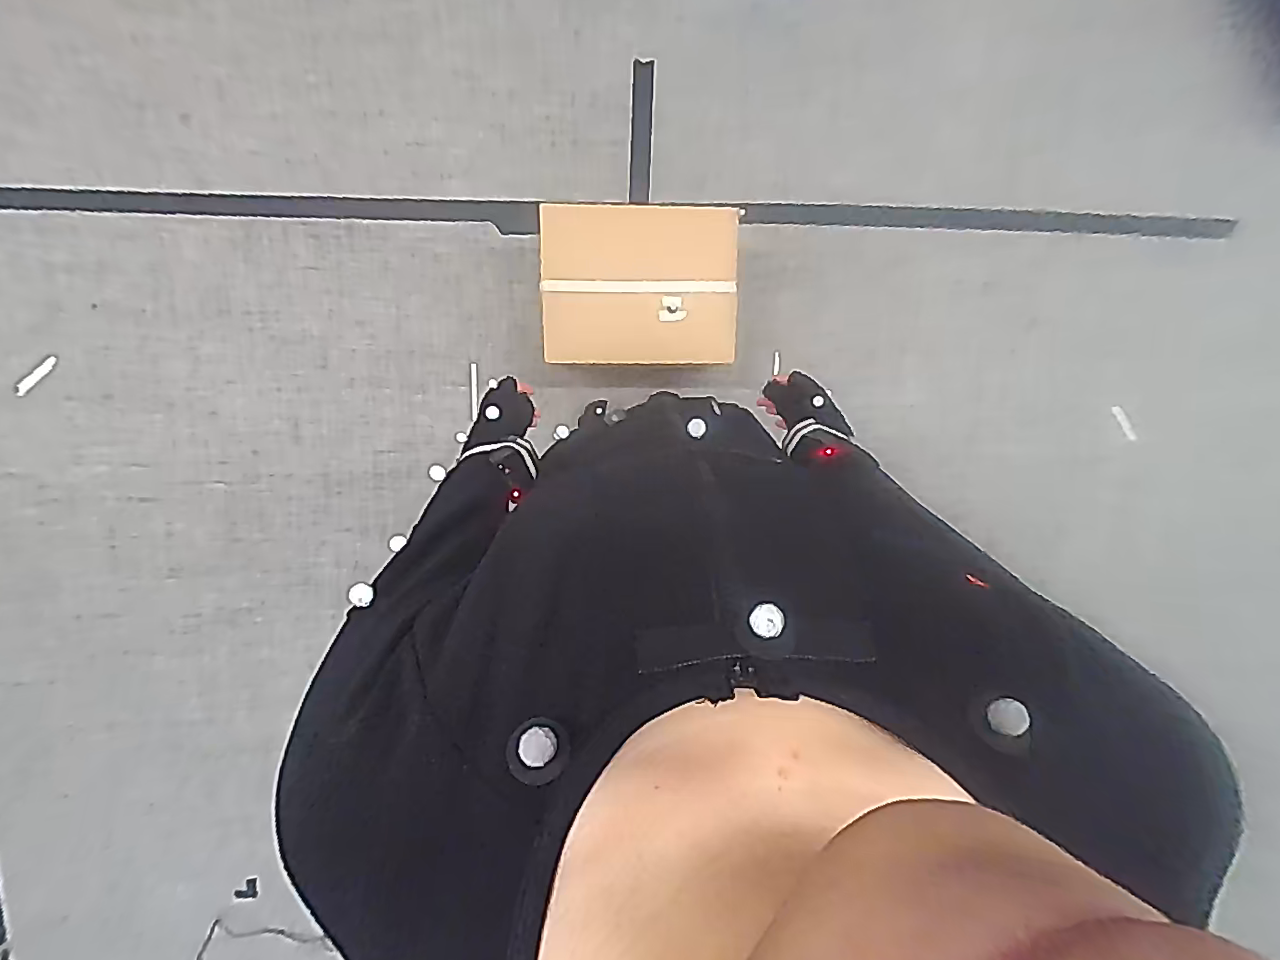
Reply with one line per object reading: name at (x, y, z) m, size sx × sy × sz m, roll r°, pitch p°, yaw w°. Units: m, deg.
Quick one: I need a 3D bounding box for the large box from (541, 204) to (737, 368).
large box at (-0.010, -0.428, 1.260) m, size 0.408 × 0.320 × 0.320 m, roll -1°, pitch 101°, yaw -4°
